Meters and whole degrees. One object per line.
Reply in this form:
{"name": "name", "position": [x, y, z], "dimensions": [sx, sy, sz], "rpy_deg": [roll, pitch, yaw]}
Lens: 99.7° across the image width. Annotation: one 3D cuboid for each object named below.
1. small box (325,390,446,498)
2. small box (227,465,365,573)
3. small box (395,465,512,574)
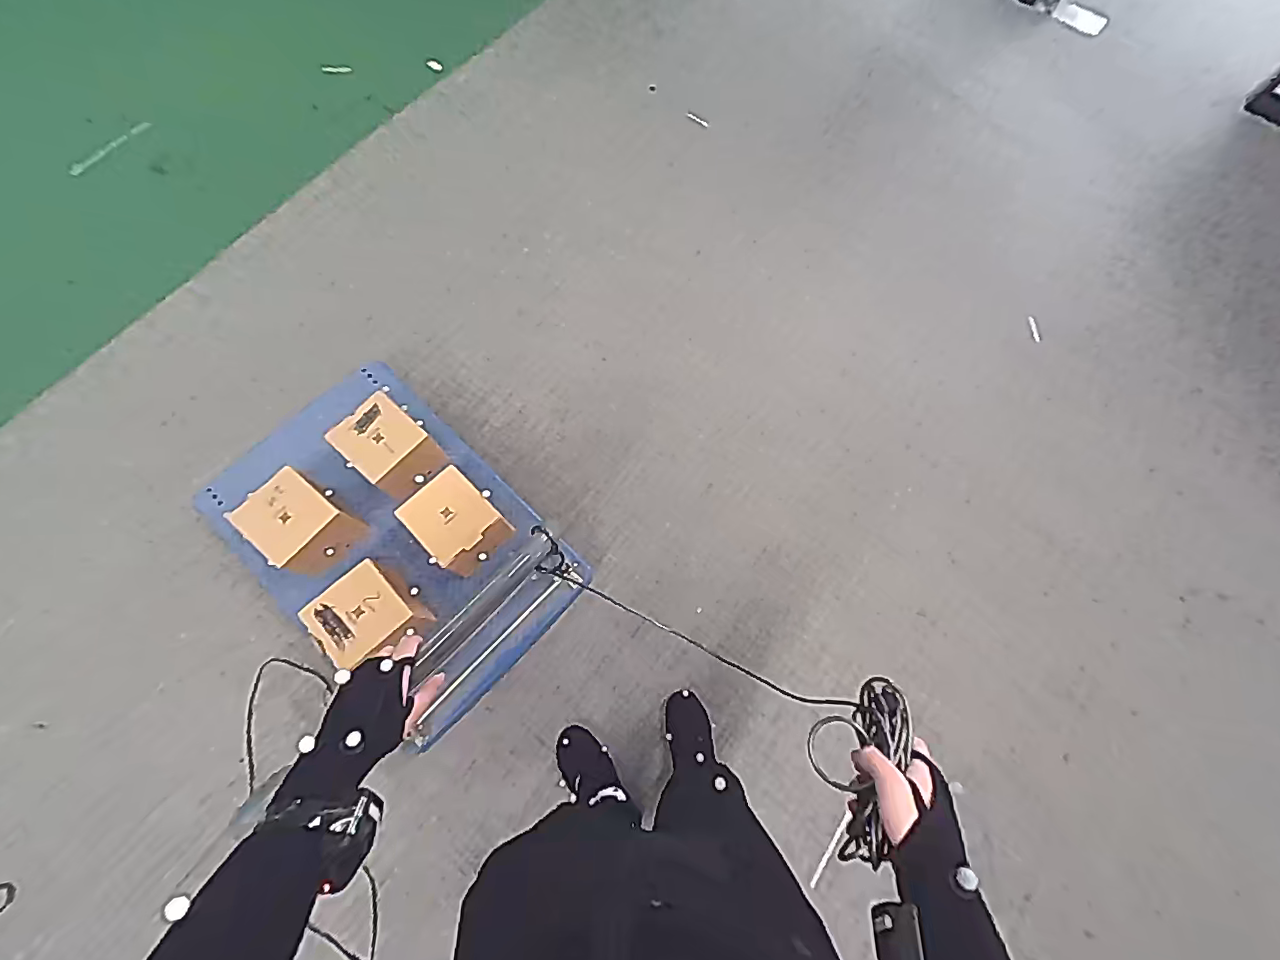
{"name": "small box", "position": [-0.607, -0.080, 1.313], "dimensions": [0.179, 0.176, 0.168], "rpy_deg": [41, 76, 9]}
{"name": "small box", "position": [-0.780, 0.100, 1.249], "dimensions": [0.179, 0.176, 0.168], "rpy_deg": [40, 74, 9]}
{"name": "small box", "position": [-0.427, 0.100, 1.266], "dimensions": [0.168, 0.176, 0.179], "rpy_deg": [-43, 79, -14]}
